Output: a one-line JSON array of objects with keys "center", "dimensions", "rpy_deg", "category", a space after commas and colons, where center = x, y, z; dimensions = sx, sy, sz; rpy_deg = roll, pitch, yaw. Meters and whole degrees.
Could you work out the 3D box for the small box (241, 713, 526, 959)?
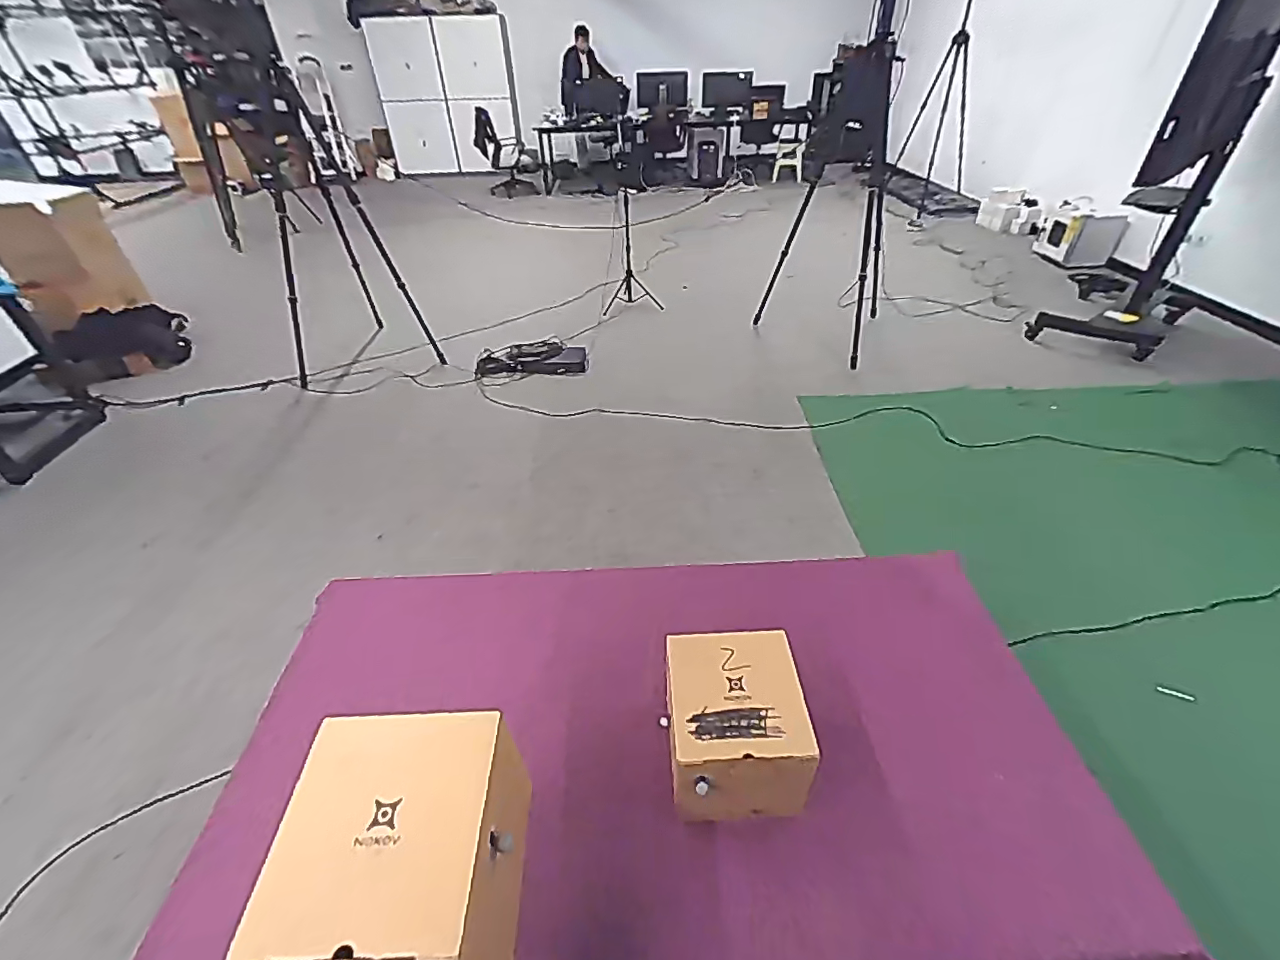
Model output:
[{"center": [-0.208, 0.340, 0.504], "dimensions": [0.168, 0.176, 0.179], "rpy_deg": [-2, 43, 0], "category": "small box"}]
